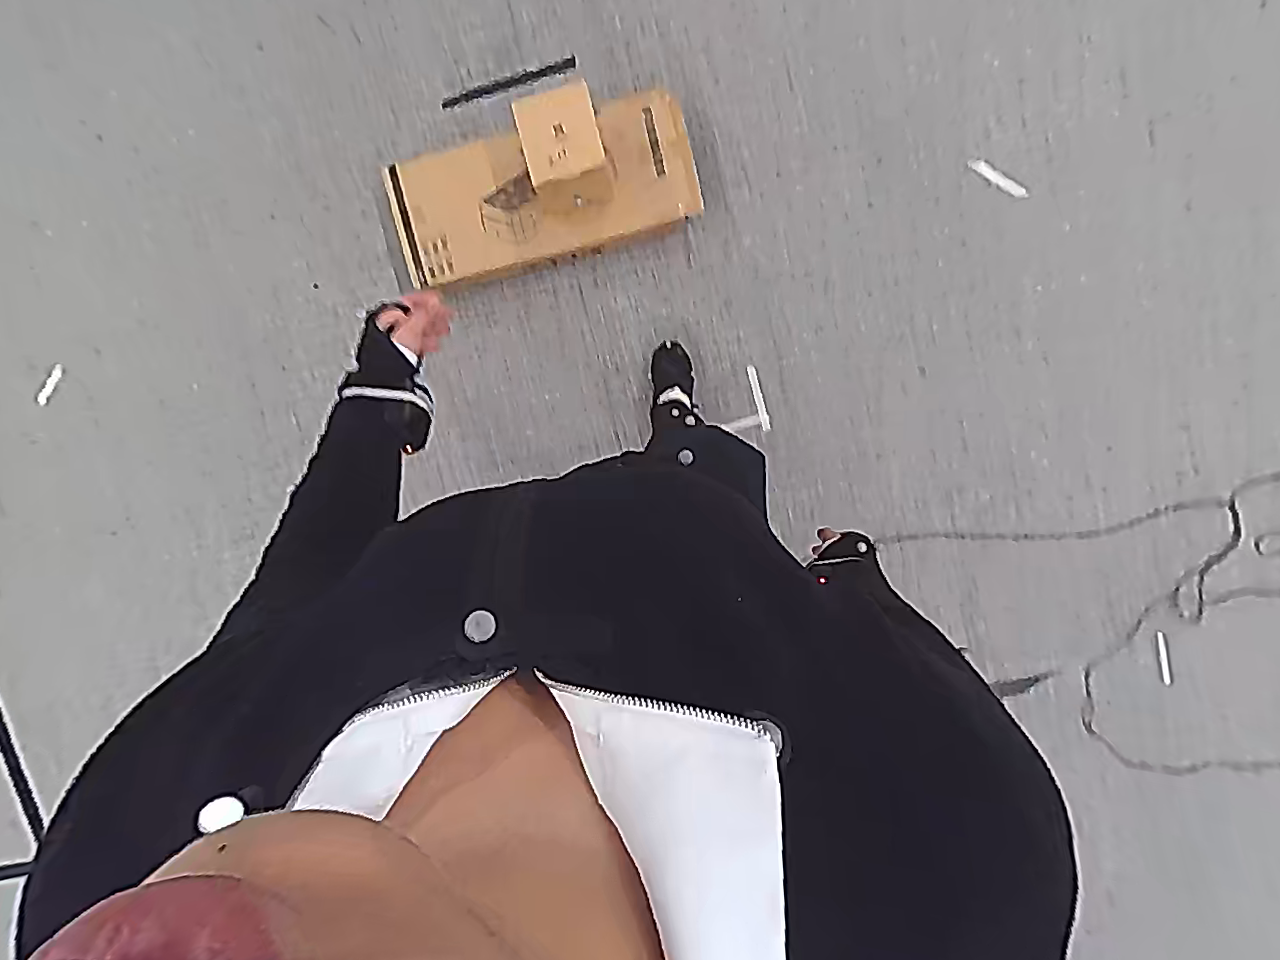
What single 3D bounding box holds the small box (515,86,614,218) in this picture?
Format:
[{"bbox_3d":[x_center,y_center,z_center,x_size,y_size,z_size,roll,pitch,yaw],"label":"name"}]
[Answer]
[{"bbox_3d":[-0.162,-0.726,1.215,0.168,0.176,0.179,-14,94,5],"label":"small box"}]
